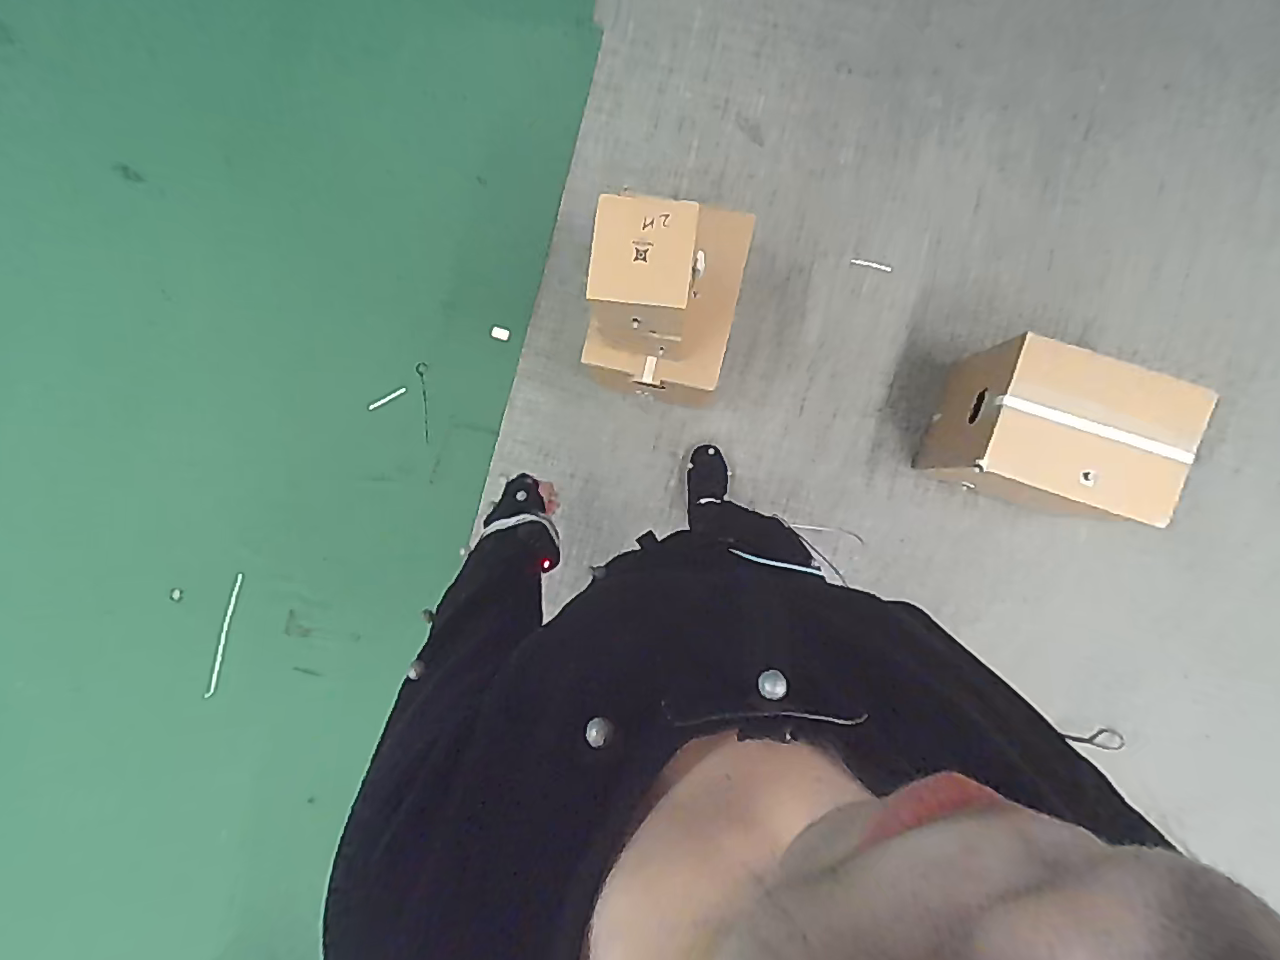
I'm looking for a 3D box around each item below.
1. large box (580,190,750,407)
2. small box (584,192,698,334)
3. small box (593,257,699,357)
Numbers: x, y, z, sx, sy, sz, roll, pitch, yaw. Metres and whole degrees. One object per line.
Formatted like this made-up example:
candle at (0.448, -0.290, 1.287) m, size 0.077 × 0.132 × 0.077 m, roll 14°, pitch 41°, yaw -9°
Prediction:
large box at (0.065, -0.423, 1.350) m, size 0.320 × 0.320 × 0.408 m, roll 13°, pitch 90°, yaw 3°
small box at (0.007, -0.367, 0.944) m, size 0.168 × 0.176 × 0.179 m, roll 8°, pitch 89°, yaw 3°
small box at (0.016, -0.360, 1.109) m, size 0.179 × 0.176 × 0.168 m, roll 12°, pitch 90°, yaw 5°
